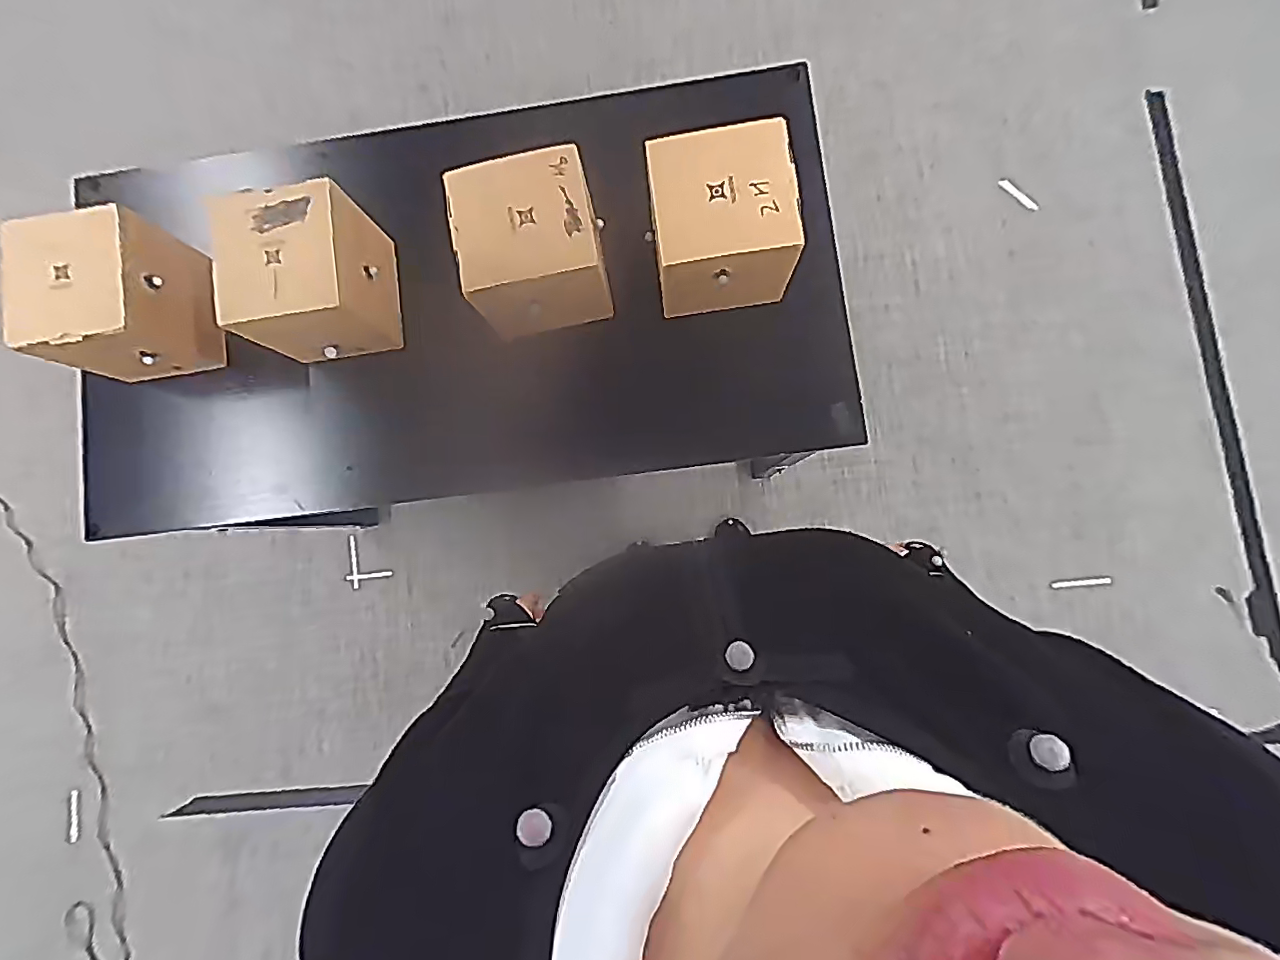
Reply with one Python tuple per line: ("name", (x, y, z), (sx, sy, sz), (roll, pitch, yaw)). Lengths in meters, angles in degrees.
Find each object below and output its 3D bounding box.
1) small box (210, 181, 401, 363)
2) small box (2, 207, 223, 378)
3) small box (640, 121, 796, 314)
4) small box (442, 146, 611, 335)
("small box", (-0.465, -0.285, 0.772), (0.168, 0.176, 0.179), (-8, 85, 3))
("small box", (-0.750, -0.257, 0.787), (0.168, 0.176, 0.179), (-9, 84, 1))
("small box", (0.101, -0.344, 0.743), (0.179, 0.176, 0.168), (-7, 85, 3))
("small box", (-0.149, -0.319, 0.757), (0.179, 0.176, 0.168), (-12, 85, 3))
